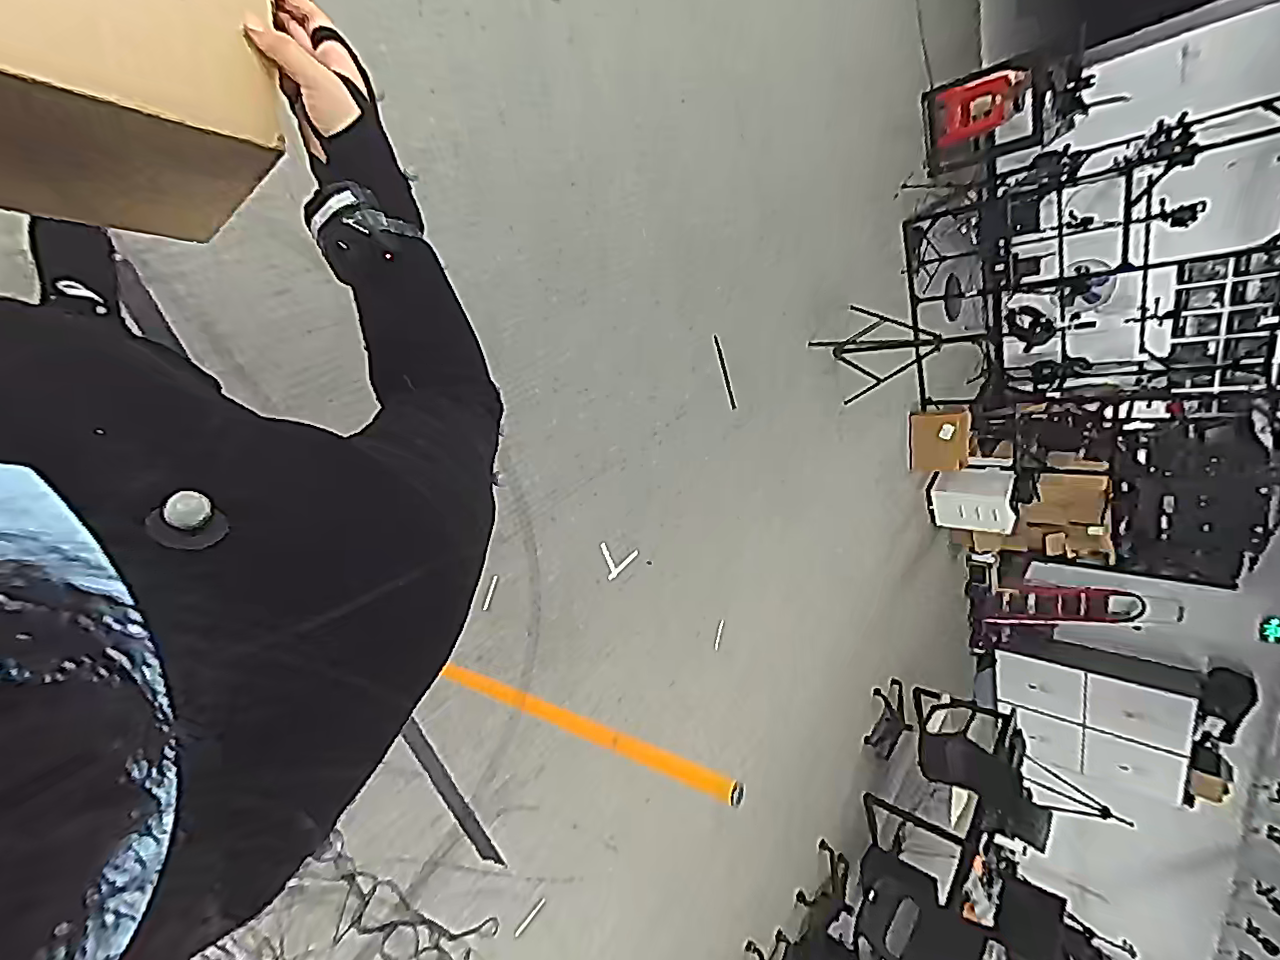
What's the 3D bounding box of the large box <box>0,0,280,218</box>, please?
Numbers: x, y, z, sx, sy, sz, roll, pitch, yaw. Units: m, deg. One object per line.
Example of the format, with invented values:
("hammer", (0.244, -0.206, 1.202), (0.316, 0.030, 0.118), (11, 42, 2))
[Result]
("large box", (-0.537, -0.414, 0.371), (0.408, 0.320, 0.320), (-10, 100, -46))
